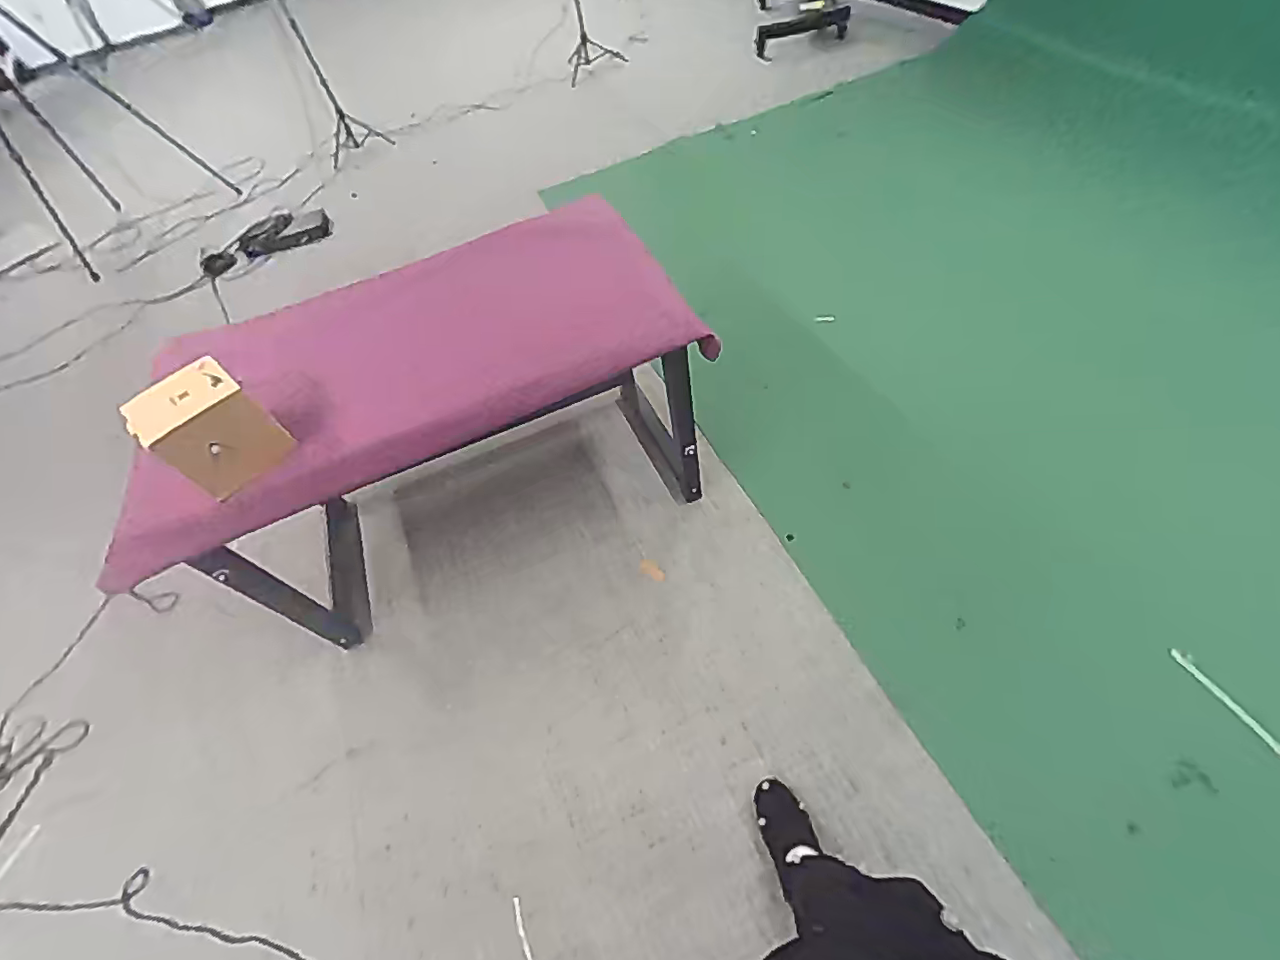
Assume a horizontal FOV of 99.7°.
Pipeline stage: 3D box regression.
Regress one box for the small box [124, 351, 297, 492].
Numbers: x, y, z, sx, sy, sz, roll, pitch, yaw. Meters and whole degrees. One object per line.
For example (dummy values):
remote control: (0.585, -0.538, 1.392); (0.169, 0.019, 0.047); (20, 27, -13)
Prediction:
small box: (-0.815, -0.108, 1.039); (0.168, 0.176, 0.179); (34, 67, 29)
